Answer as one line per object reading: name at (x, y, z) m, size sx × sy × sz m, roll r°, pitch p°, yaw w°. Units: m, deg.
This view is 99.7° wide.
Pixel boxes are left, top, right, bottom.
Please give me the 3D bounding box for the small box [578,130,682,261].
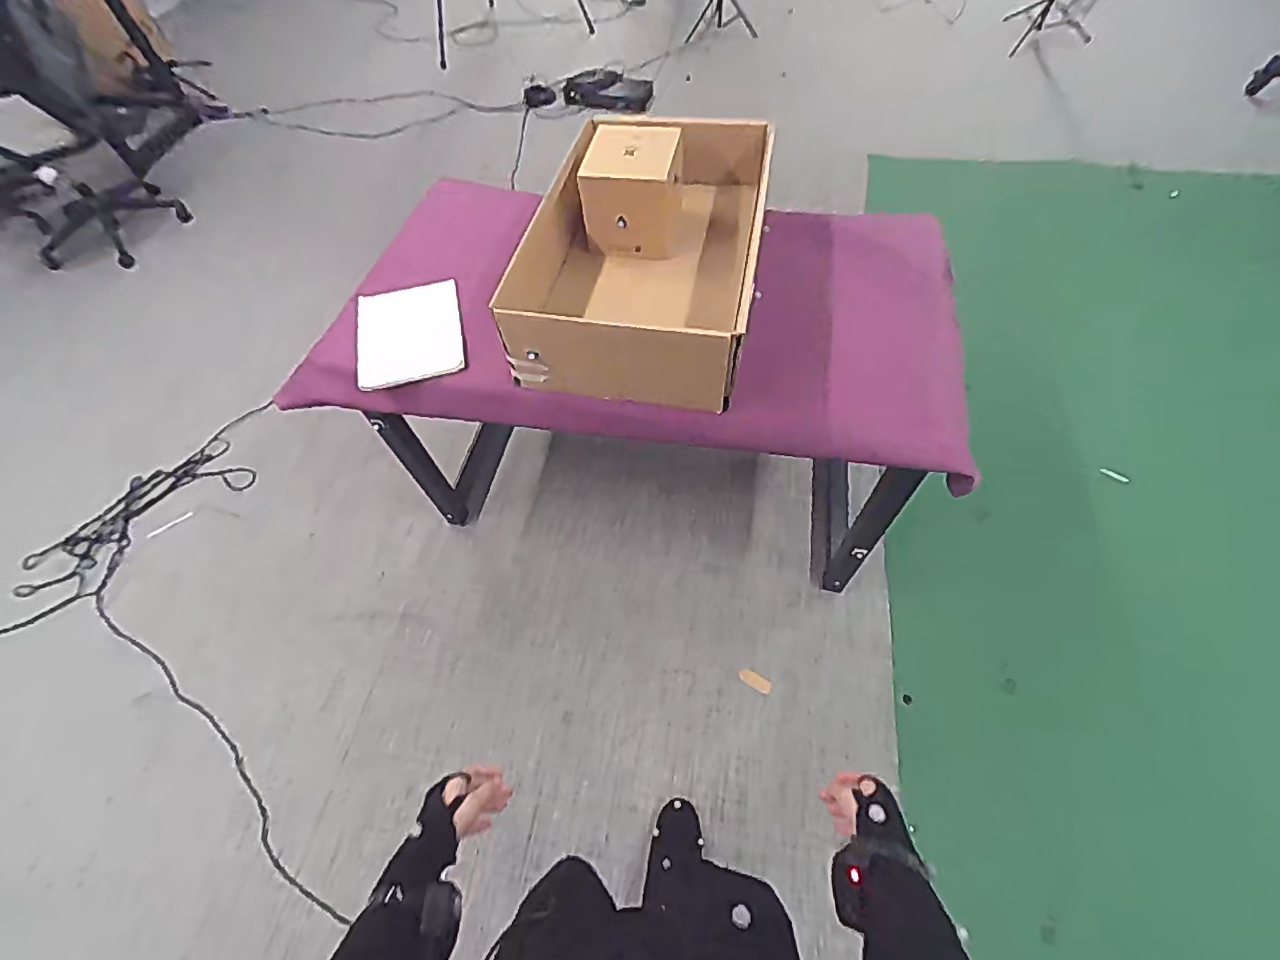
small box at (-0.010, -0.561, 1.073) m, size 0.168 × 0.176 × 0.179 m, roll 9°, pitch 60°, yaw 9°
